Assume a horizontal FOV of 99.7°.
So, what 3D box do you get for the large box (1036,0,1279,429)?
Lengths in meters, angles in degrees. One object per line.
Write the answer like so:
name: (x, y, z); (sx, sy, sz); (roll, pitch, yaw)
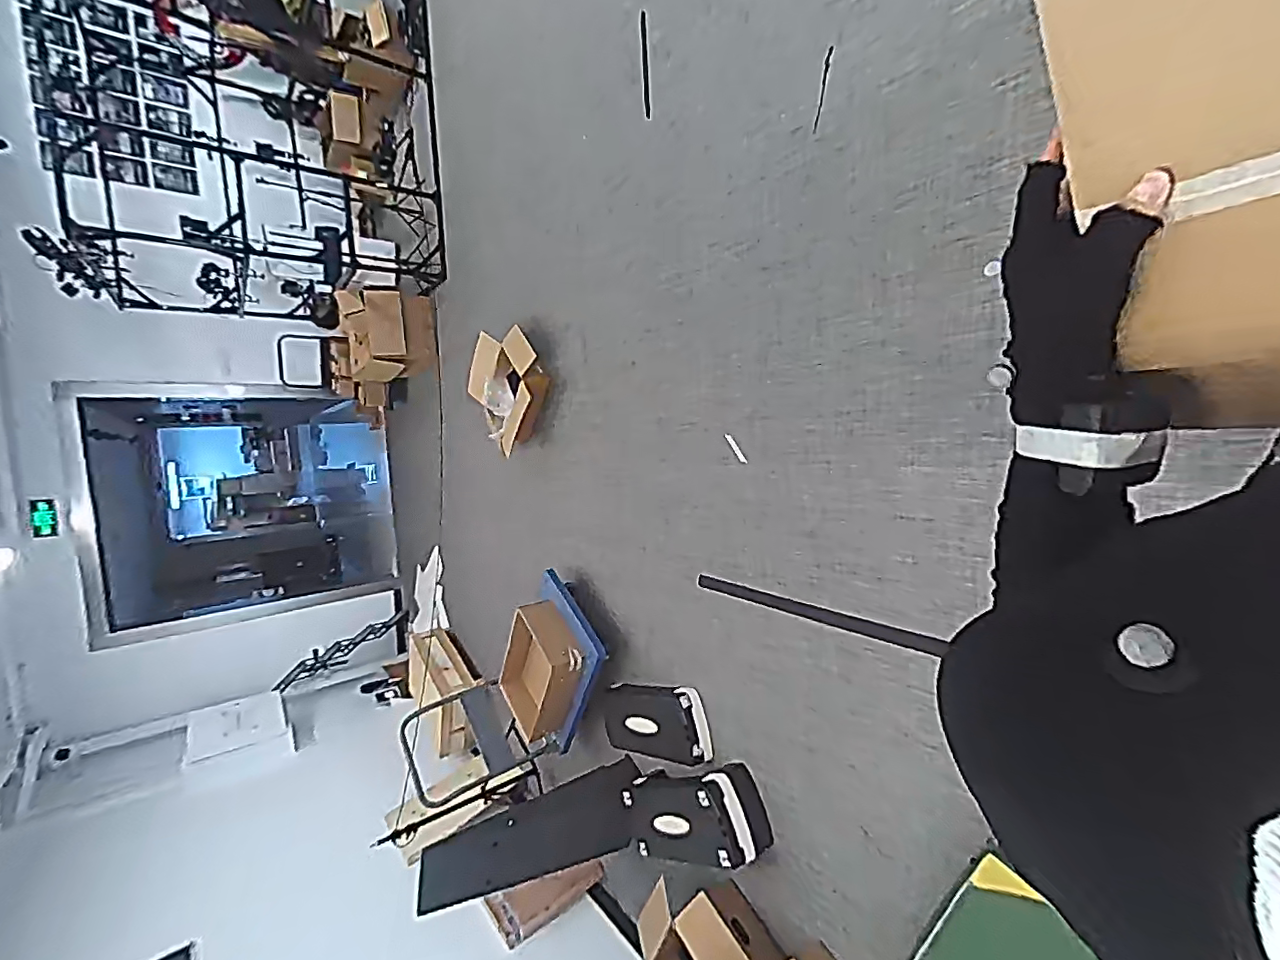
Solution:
large box: (0.488, -0.242, 0.238); (0.408, 0.320, 0.320); (5, 134, 56)
